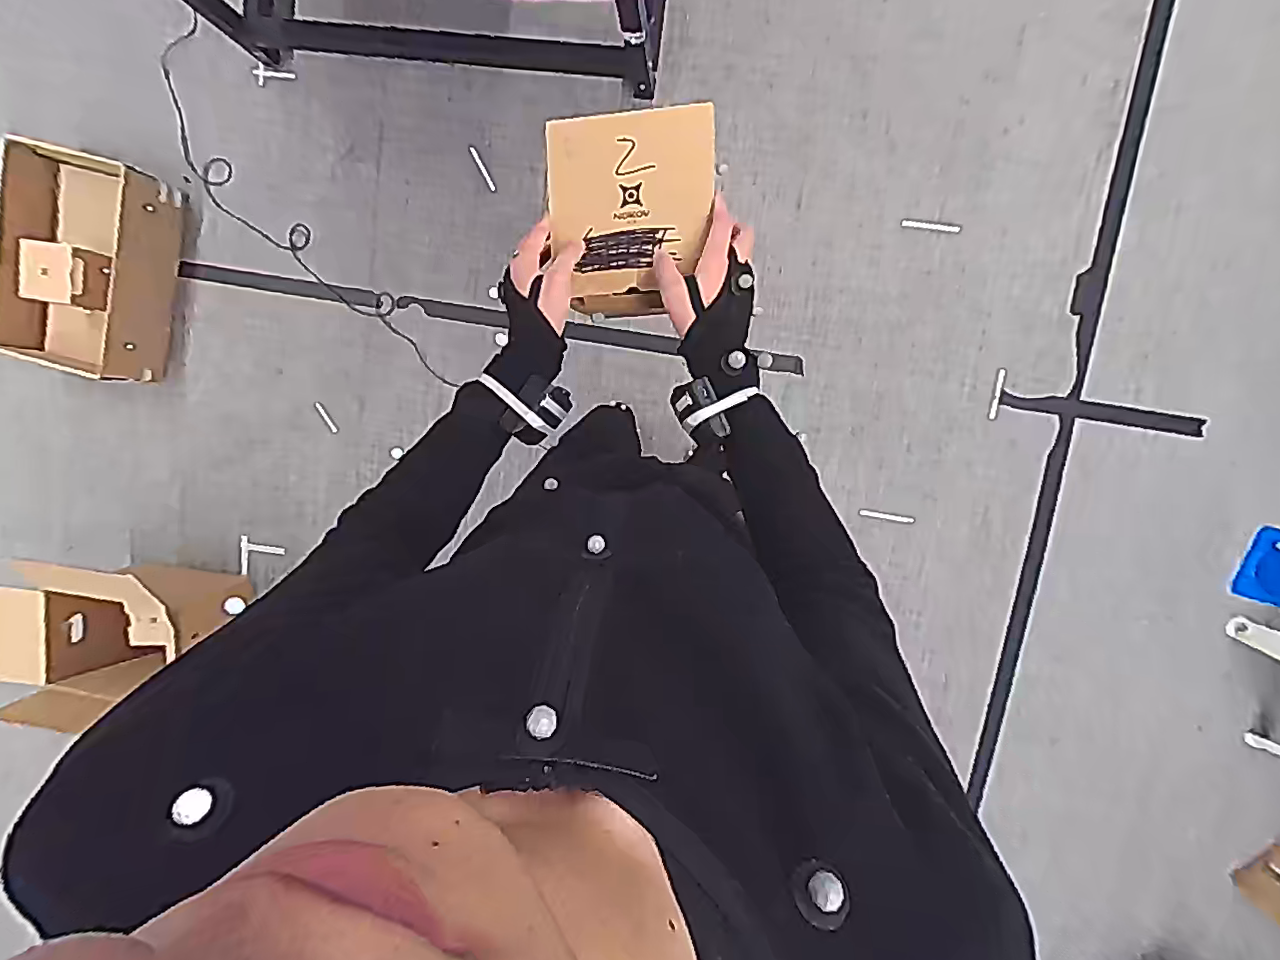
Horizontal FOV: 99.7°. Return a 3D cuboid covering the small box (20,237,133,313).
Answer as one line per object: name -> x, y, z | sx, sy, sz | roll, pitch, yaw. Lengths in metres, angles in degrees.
small box -> -1.671, -0.603, 1.610 | 0.179, 0.176, 0.168 | 10, 96, 5
